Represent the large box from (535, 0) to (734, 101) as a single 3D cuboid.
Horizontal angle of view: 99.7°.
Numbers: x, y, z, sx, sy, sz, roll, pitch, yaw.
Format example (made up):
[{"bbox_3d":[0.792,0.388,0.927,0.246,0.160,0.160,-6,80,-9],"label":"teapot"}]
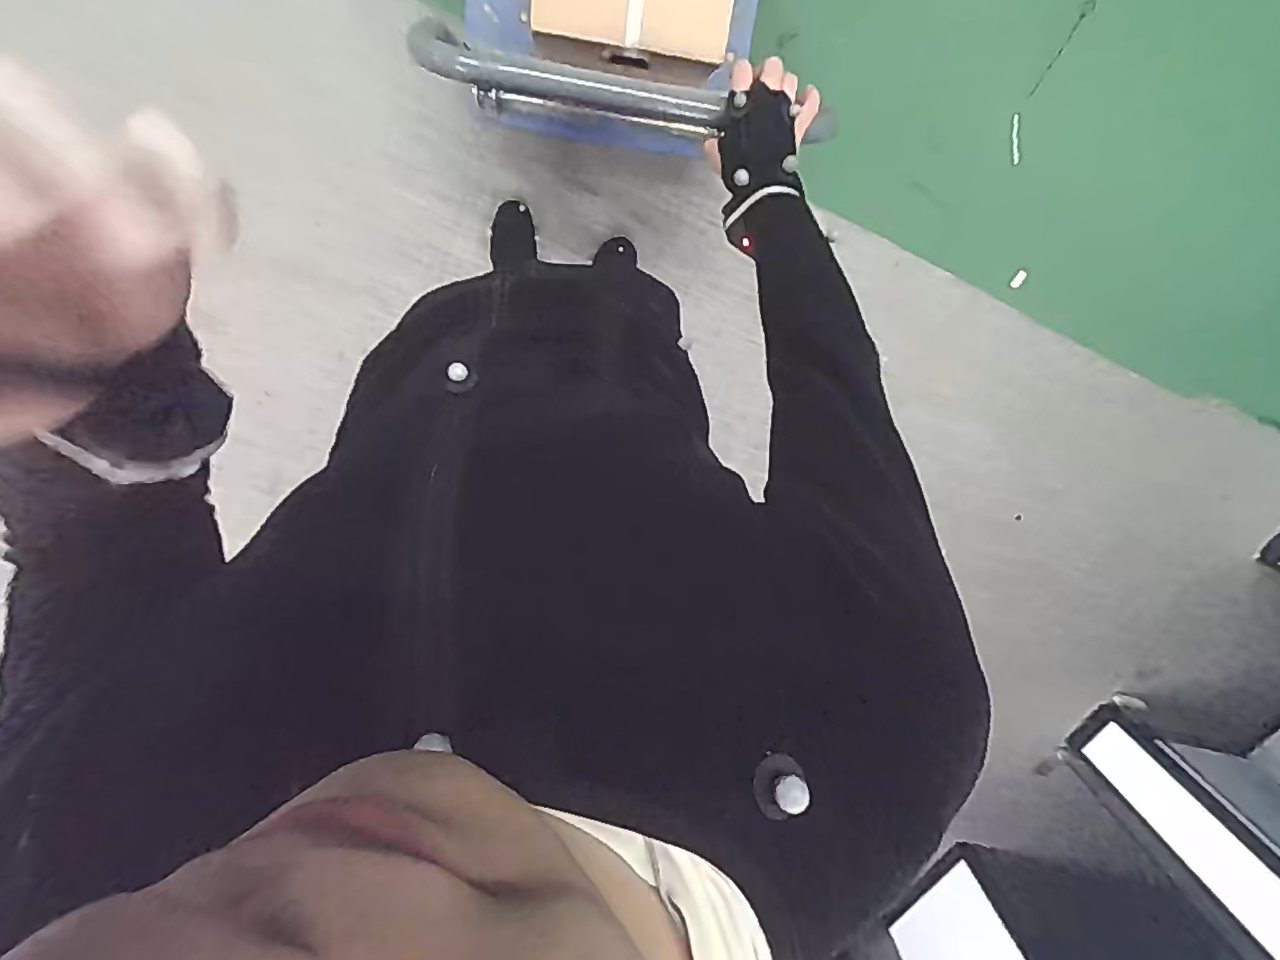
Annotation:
[{"bbox_3d":[-0.005,-0.928,0.922,0.320,0.320,0.408,4,116,-9],"label":"large box"}]
